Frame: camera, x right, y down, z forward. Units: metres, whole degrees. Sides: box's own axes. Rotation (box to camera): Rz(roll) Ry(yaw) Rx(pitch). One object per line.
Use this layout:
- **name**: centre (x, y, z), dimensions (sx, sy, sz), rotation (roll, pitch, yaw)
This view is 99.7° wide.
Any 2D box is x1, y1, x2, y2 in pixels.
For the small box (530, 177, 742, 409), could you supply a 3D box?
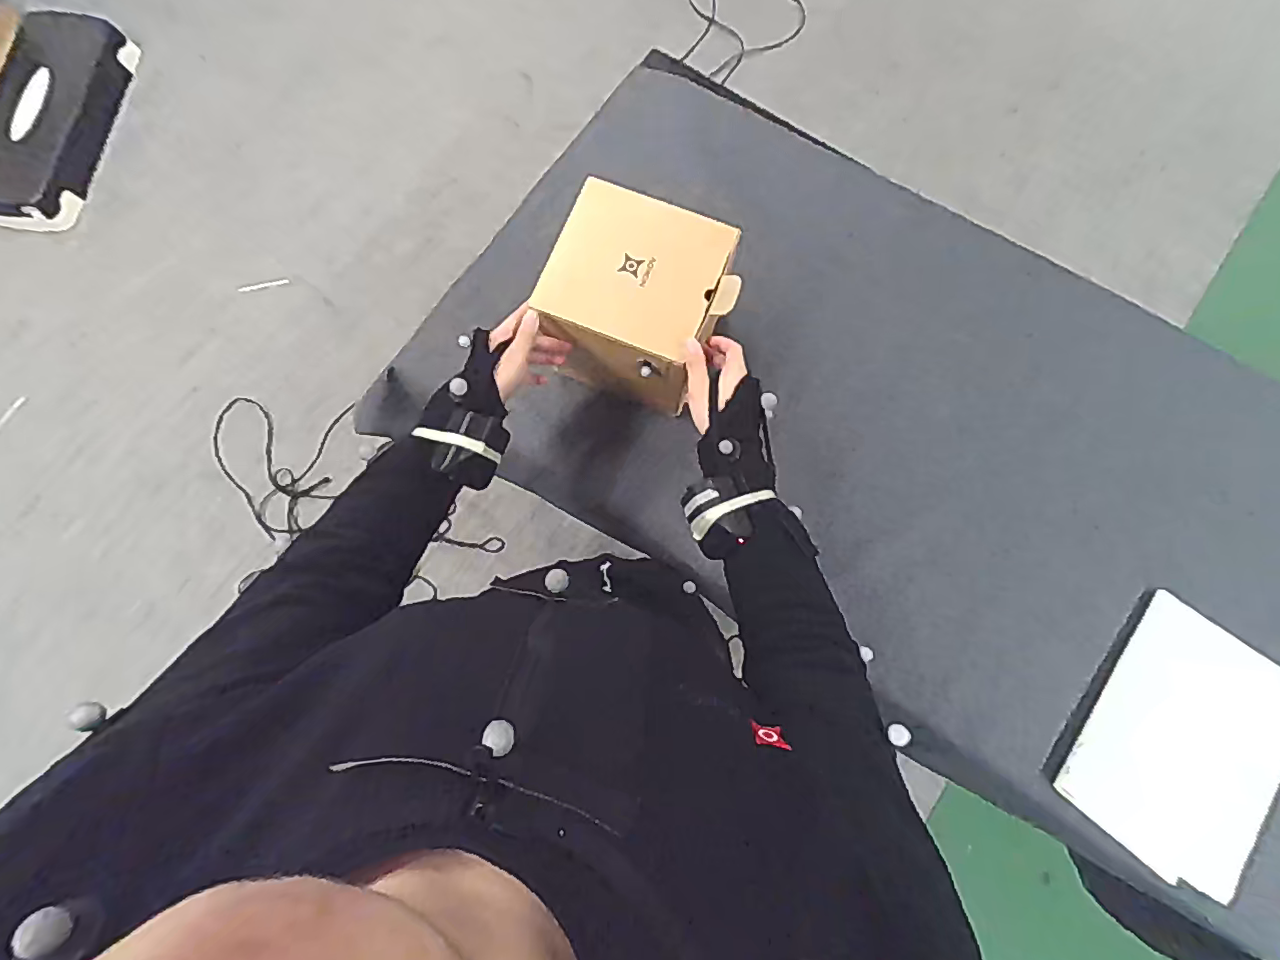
- **small box**: centre (-0.003, -0.202, 0.631), dimensions (0.179, 0.176, 0.168), rotation (21, 78, 3)
